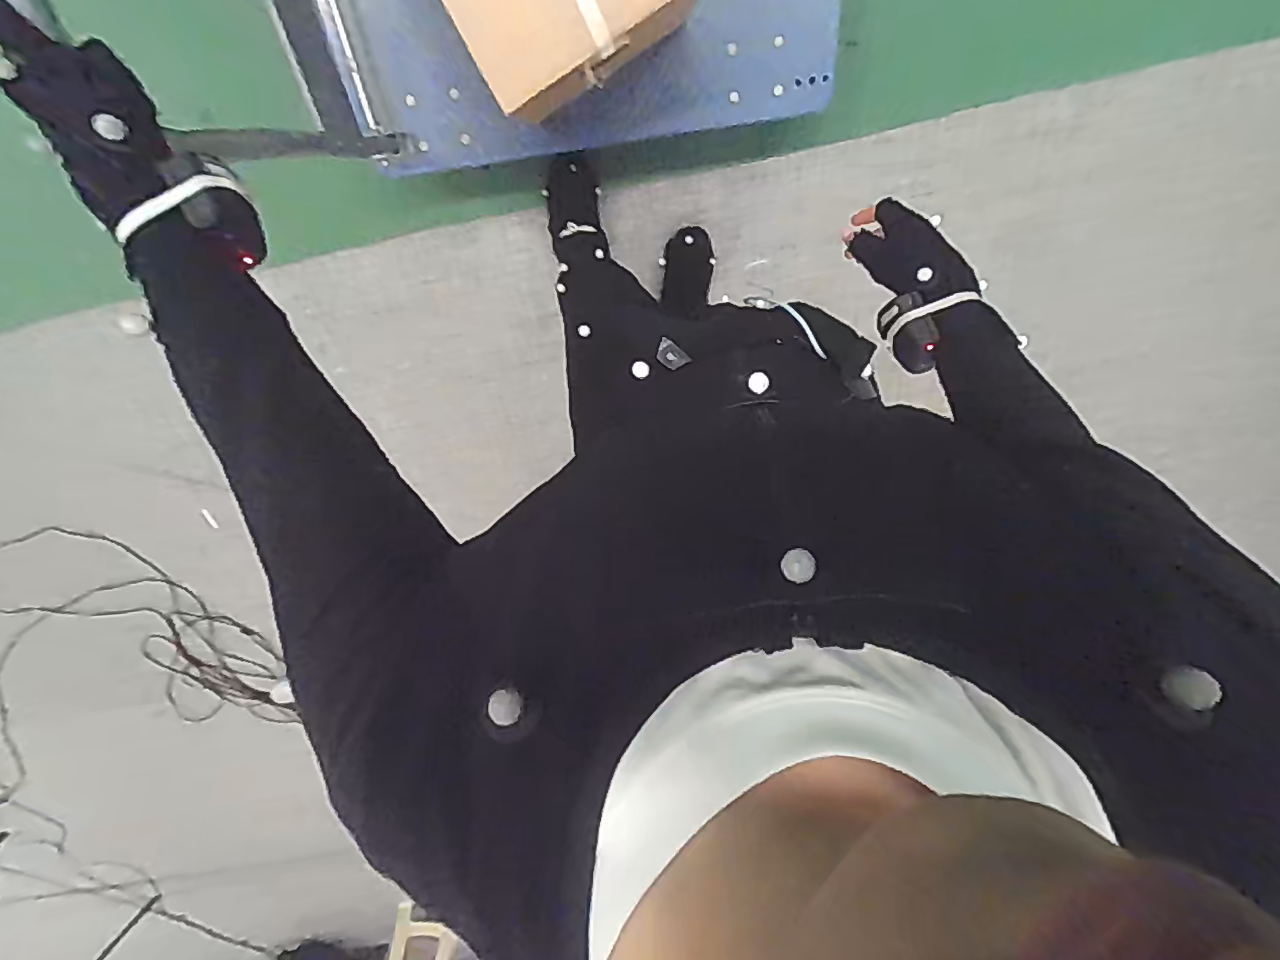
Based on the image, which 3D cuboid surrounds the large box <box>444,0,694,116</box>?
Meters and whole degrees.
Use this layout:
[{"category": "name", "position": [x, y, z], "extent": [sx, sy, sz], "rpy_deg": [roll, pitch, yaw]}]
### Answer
[{"category": "large box", "position": [-0.141, -0.793, 0.733], "extent": [0.320, 0.320, 0.408], "rpy_deg": [-25, 119, 13]}]
